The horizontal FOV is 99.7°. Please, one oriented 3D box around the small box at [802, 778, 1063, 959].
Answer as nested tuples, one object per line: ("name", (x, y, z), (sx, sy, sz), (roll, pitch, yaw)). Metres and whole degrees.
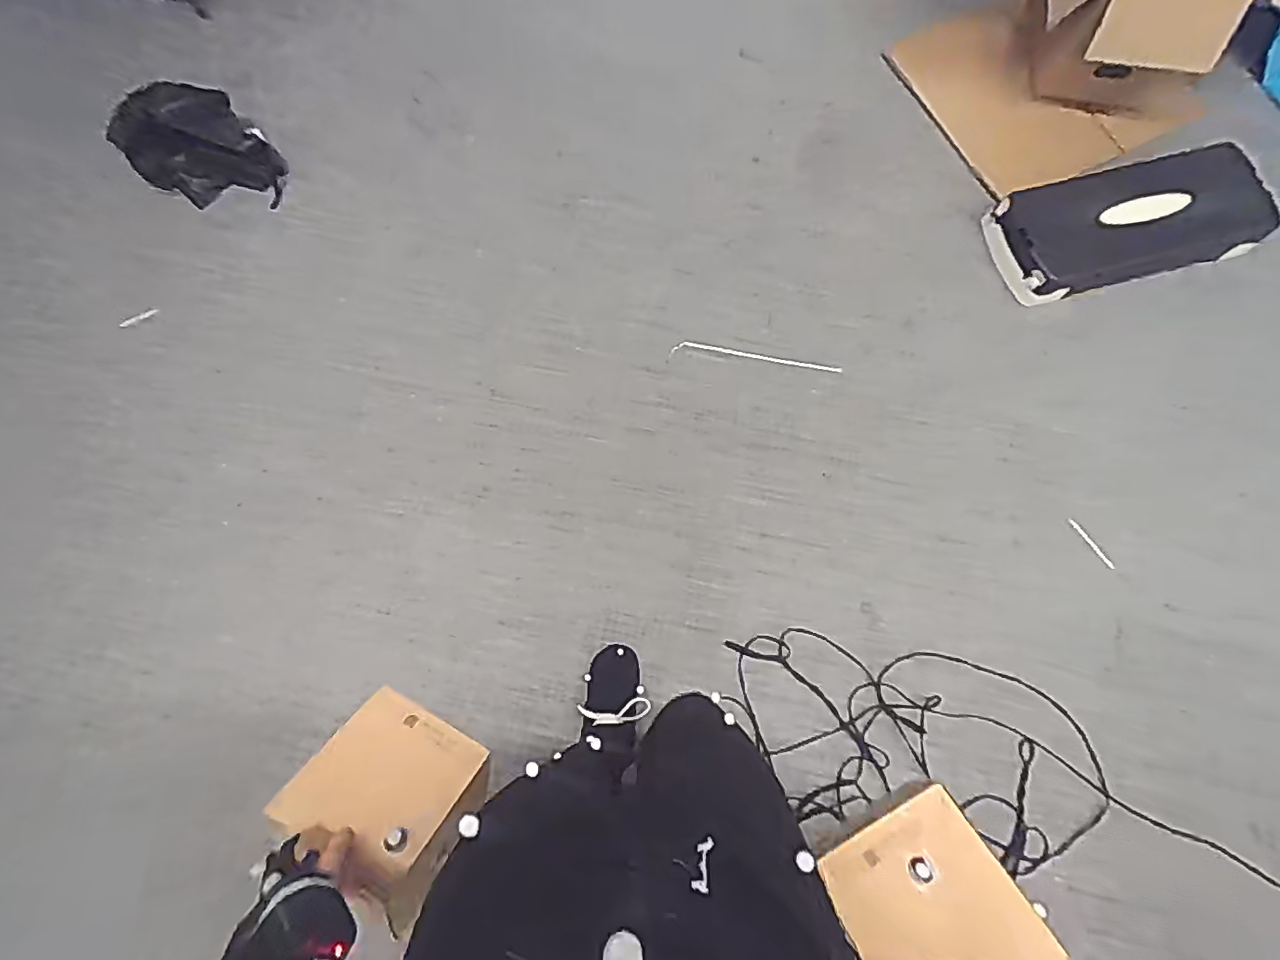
("small box", (0.296, 0.452, 0.596), (0.168, 0.179, 0.176), (-31, 60, -2))
